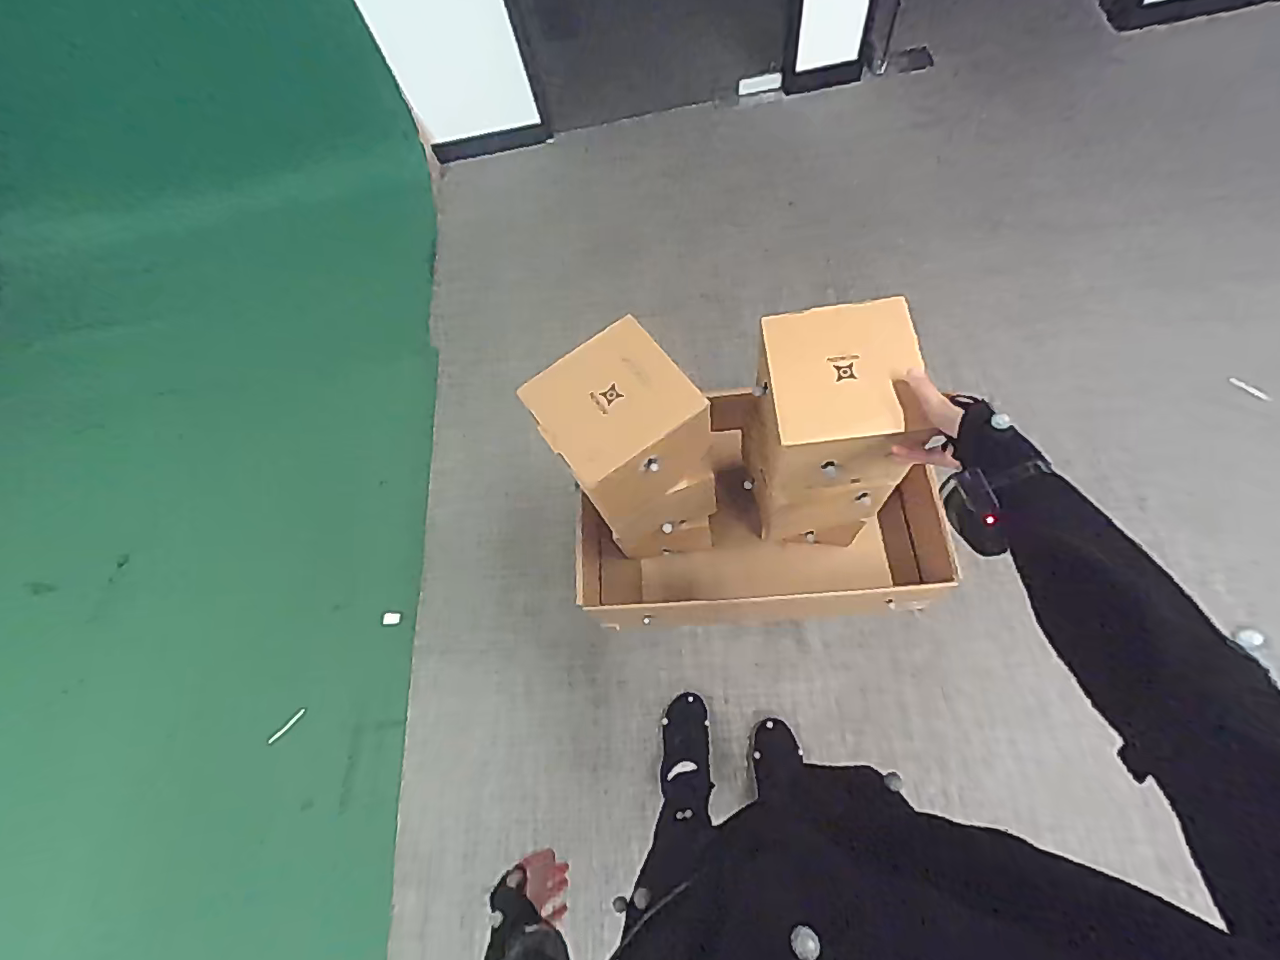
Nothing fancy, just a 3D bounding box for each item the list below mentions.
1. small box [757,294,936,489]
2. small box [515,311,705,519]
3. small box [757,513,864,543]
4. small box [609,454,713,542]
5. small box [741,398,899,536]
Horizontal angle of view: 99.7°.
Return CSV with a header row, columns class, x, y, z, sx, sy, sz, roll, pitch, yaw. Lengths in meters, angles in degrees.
class,x,y,z,sx,sy,sz,roll,pitch,yaw
small box,0.238,-0.096,0.672,0.168,0.176,0.179,-6,66,8
small box,-0.027,-0.073,0.704,0.179,0.176,0.168,-34,68,-6
small box,0.302,0.008,0.976,0.168,0.176,0.179,4,70,10
small box,0.008,-0.025,0.855,0.168,0.176,0.179,-21,67,1
small box,0.256,-0.029,0.819,0.179,0.176,0.168,-14,65,5
